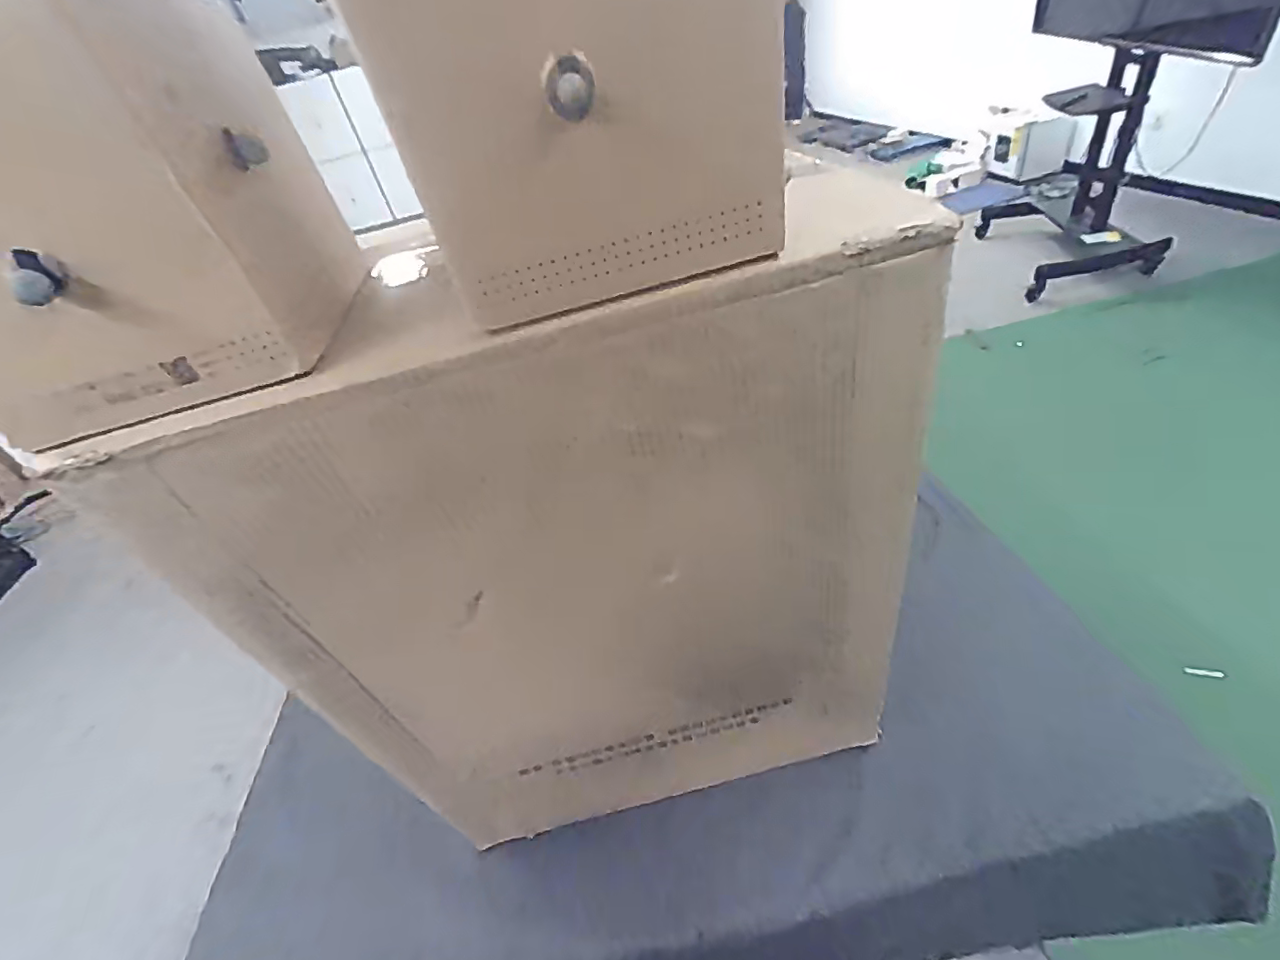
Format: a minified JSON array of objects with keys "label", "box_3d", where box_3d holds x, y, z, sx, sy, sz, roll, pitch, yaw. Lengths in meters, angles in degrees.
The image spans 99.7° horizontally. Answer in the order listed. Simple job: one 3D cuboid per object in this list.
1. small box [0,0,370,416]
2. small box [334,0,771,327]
[{"label":"small box","box_3d":[-0.288,-0.154,0.315,0.168,0.176,0.179,-15,42,0]},{"label":"small box","box_3d":[-0.033,-0.210,0.300,0.179,0.176,0.168,-15,41,0]}]
